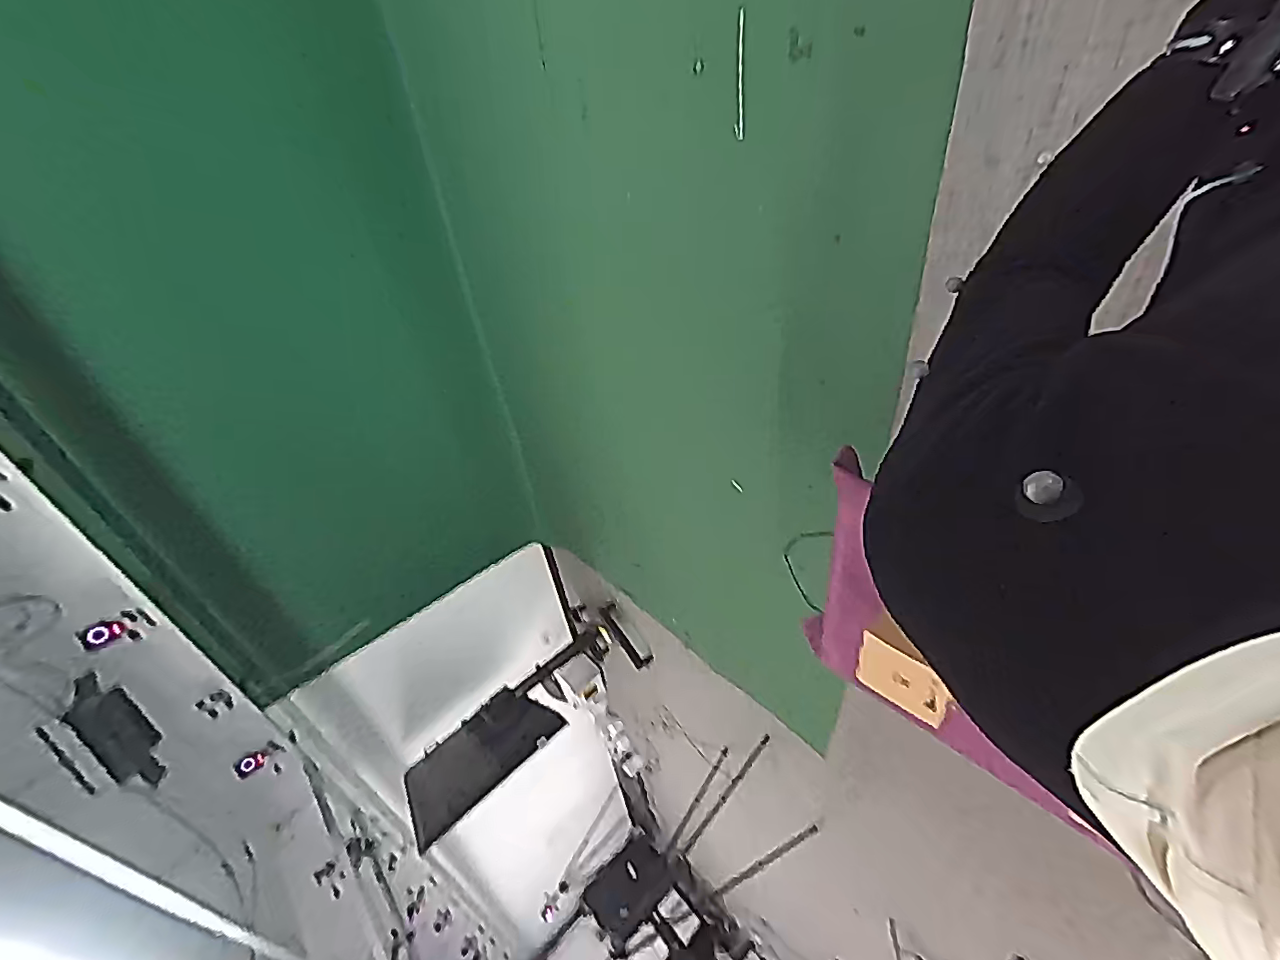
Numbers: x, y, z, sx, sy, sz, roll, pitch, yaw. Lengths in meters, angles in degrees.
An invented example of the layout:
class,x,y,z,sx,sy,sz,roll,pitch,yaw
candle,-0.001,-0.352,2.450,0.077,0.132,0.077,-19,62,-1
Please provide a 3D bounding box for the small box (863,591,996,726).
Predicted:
class,x,y,z,sx,sy,sz,roll,pitch,yaw
small box,0.596,0.357,1.123,0.179,0.176,0.168,28,140,40

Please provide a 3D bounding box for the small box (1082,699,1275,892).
class,x,y,z,sx,sy,sz,roll,pitch,yaw
small box,0.859,0.495,0.868,0.168,0.176,0.179,27,140,42
